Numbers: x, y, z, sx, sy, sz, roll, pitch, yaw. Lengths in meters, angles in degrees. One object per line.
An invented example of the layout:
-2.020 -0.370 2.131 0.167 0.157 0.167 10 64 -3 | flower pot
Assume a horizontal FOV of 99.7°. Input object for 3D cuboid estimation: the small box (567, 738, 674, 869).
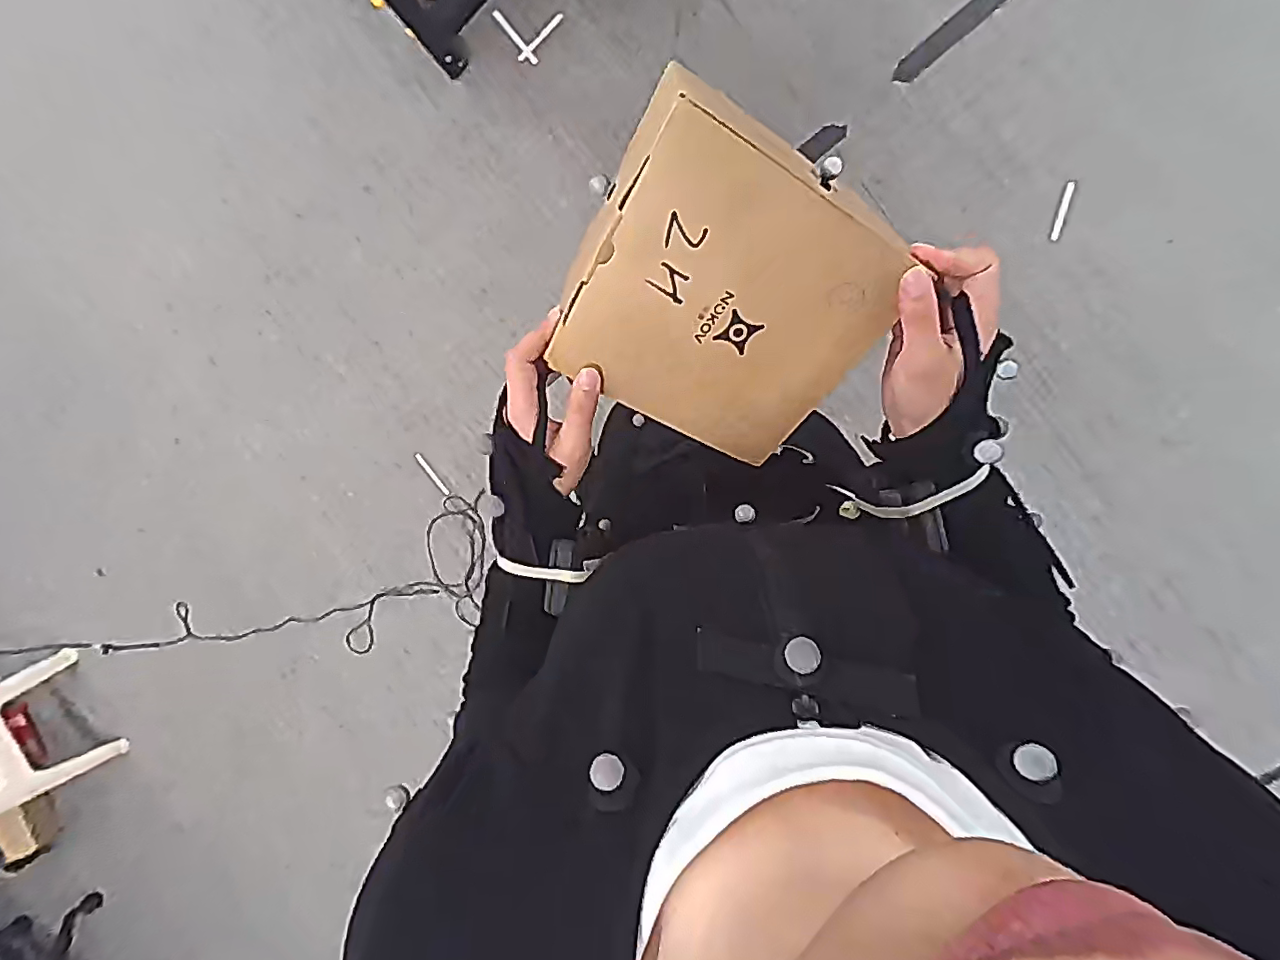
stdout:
-0.039 0.743 1.268 0.179 0.176 0.168 44 103 -2 | small box
